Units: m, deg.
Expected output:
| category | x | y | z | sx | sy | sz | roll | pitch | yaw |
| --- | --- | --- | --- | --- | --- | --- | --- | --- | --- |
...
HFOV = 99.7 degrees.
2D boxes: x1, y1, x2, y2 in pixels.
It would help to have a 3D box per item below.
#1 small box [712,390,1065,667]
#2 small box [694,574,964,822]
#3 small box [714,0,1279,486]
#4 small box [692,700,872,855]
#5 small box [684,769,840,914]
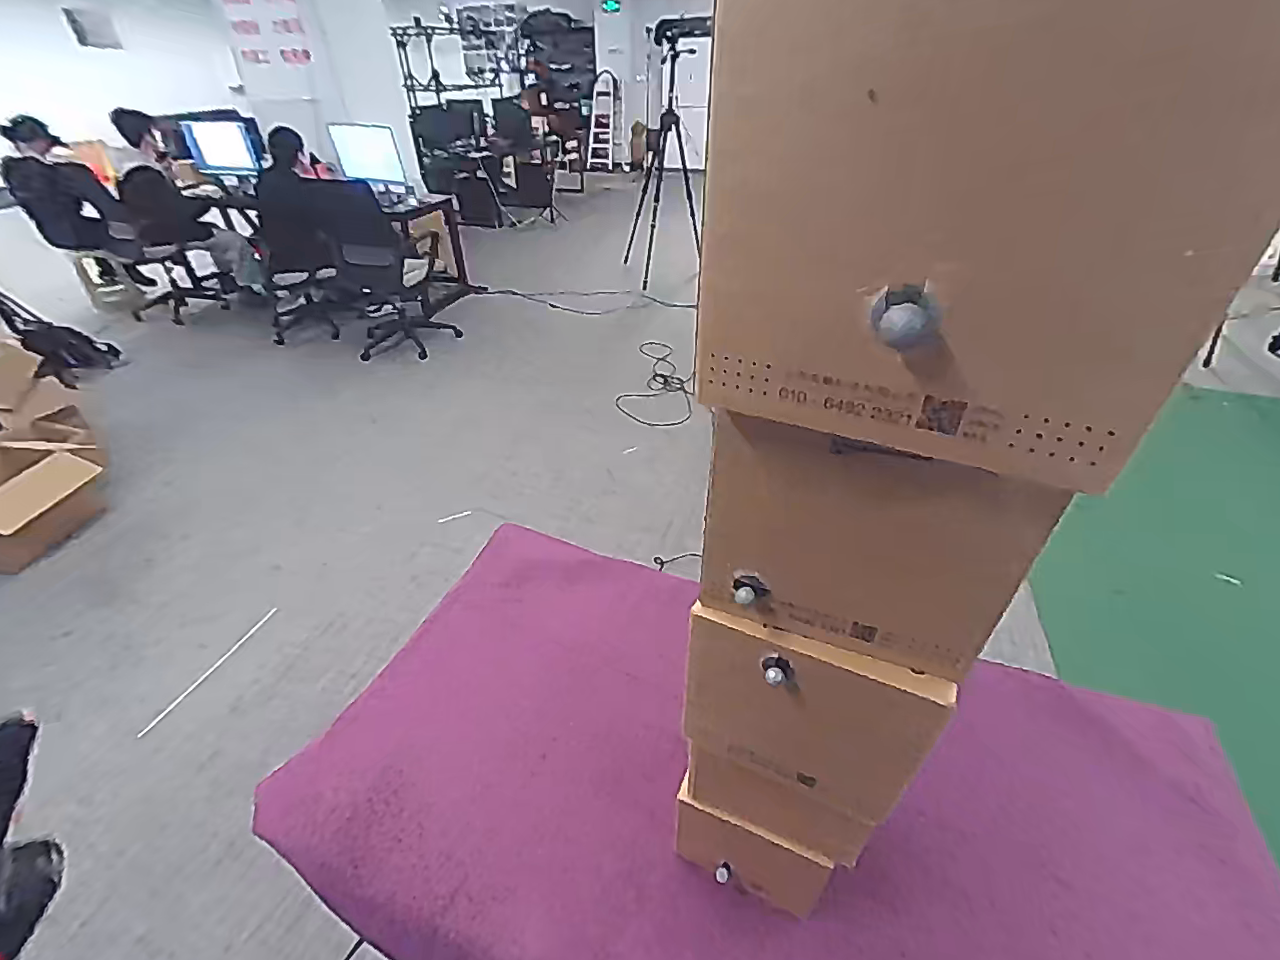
| category | x | y | z | sx | sy | sz | roll | pitch | yaw |
| --- | --- | --- | --- | --- | --- | --- | --- | --- | --- |
| small box | 0.149 | -0.010 | 0.357 | 0.168 | 0.176 | 0.179 | 13 | 39 | 18 |
| small box | 0.148 | 0.129 | 0.445 | 0.168 | 0.176 | 0.179 | 15 | 39 | 21 |
| small box | 0.137 | -0.126 | 0.237 | 0.168 | 0.176 | 0.179 | 16 | 41 | 22 |
| small box | 0.159 | 0.246 | 0.561 | 0.179 | 0.176 | 0.168 | 14 | 40 | 19 |
| small box | 0.155 | 0.374 | 0.660 | 0.168 | 0.176 | 0.179 | 14 | 41 | 20 |
